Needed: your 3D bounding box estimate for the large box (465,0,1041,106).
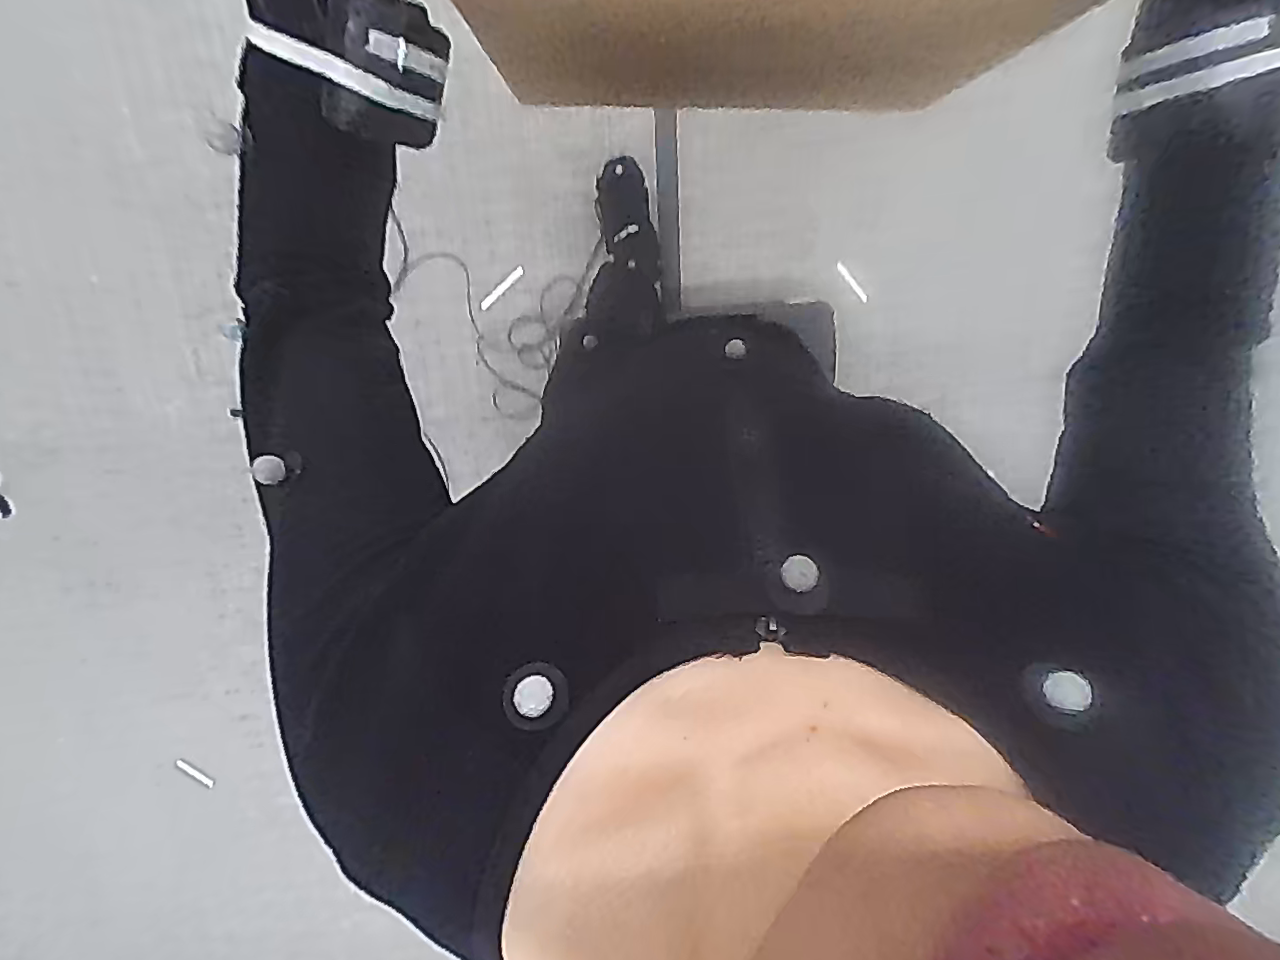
[{"bbox_3d":[0.076,-0.474,0.350,0.408,0.320,0.320,-1,110,-1],"label":"large box"}]
